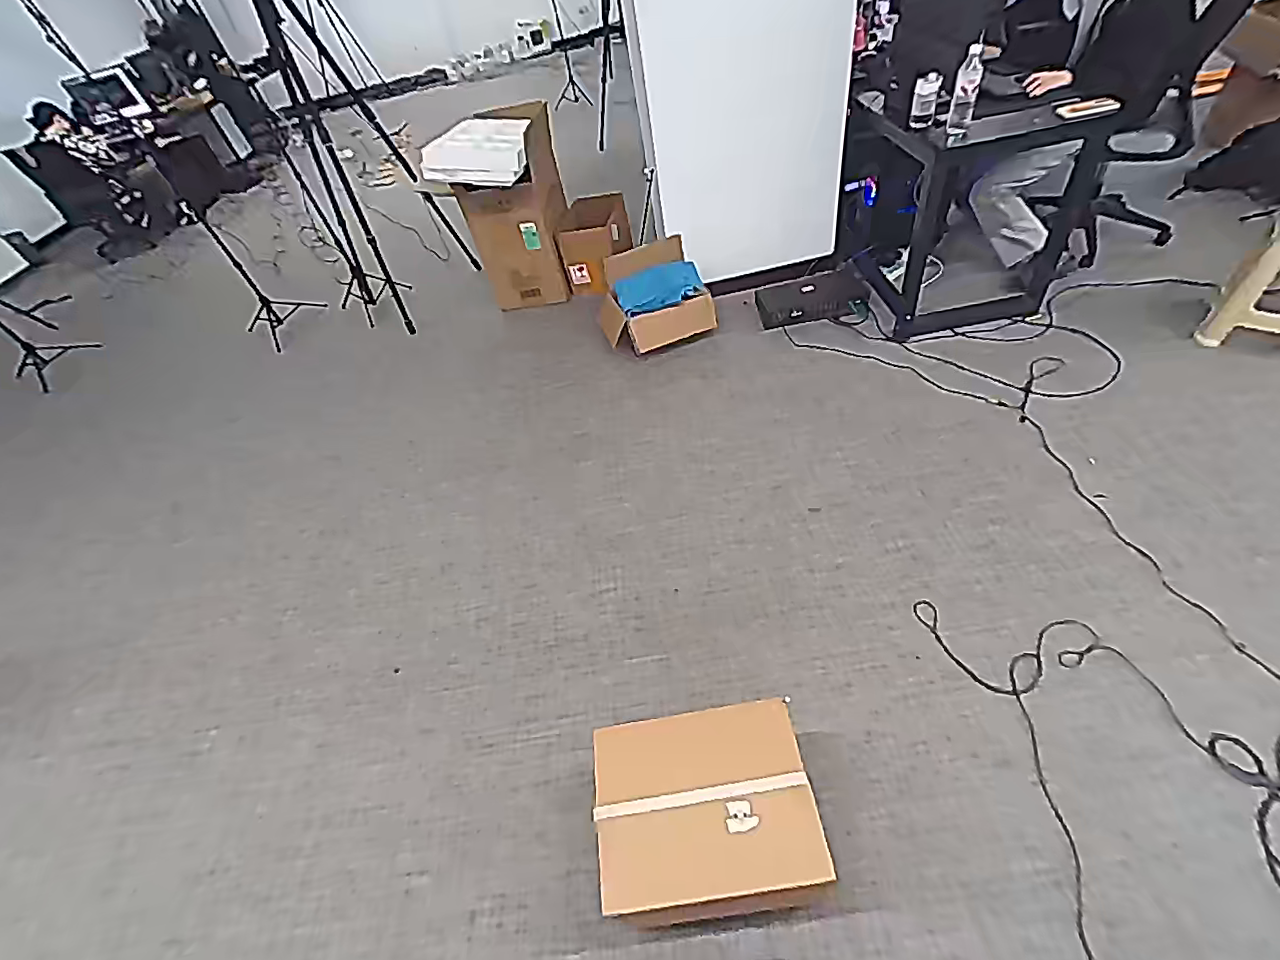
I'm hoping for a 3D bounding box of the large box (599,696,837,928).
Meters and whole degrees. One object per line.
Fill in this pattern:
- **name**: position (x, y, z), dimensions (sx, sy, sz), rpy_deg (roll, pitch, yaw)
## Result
- **large box**: position (0.148, 0.697, 1.130), dimensions (0.408, 0.320, 0.320), rpy_deg (-11, 47, 3)
